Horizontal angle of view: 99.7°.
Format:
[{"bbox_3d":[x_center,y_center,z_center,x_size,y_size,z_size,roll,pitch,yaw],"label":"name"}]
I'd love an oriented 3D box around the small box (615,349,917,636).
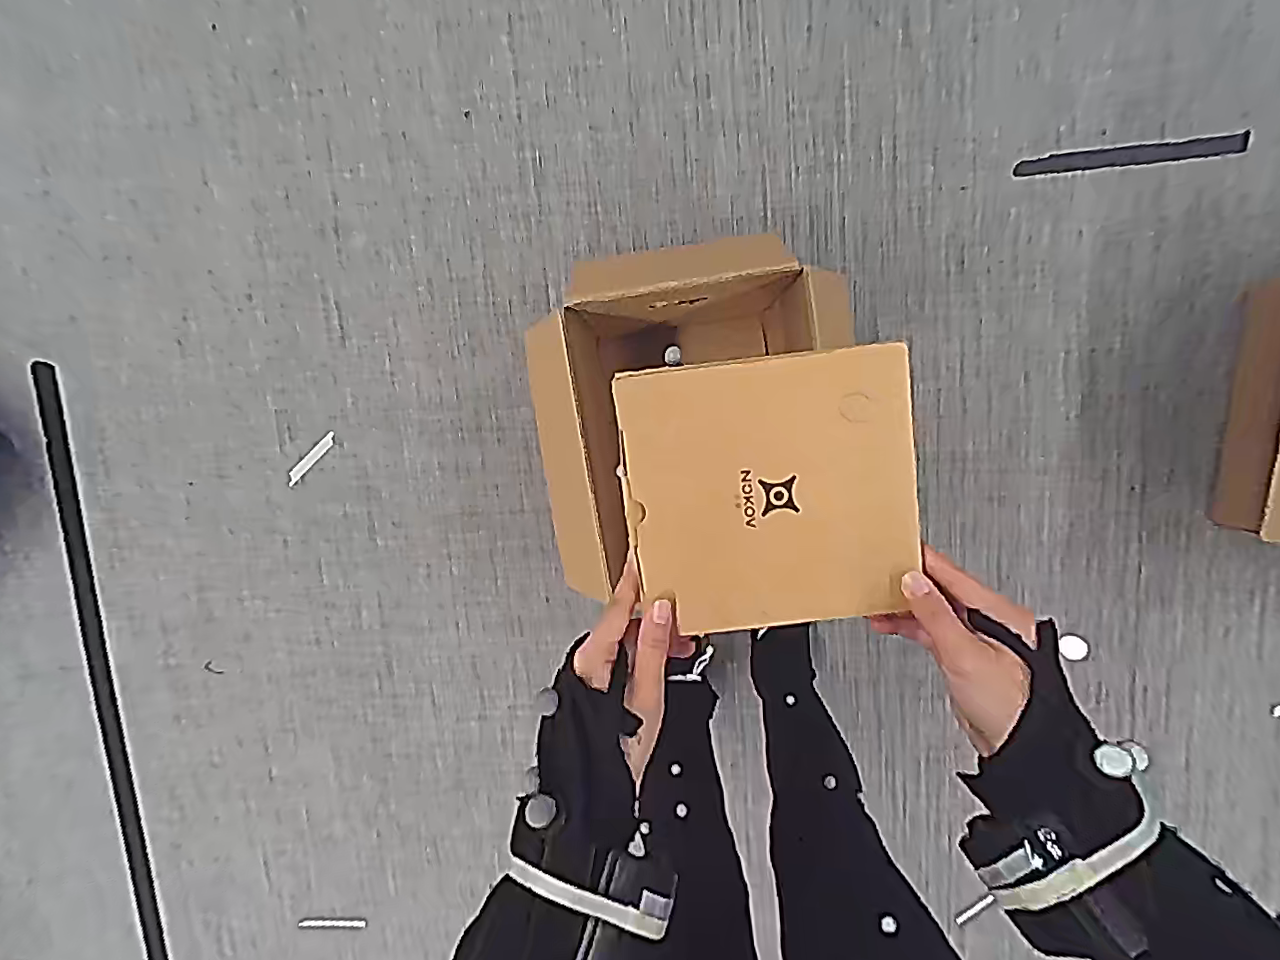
[{"bbox_3d":[0.081,0.000,0.410,0.179,0.176,0.168,-7,97,3],"label":"small box"}]
